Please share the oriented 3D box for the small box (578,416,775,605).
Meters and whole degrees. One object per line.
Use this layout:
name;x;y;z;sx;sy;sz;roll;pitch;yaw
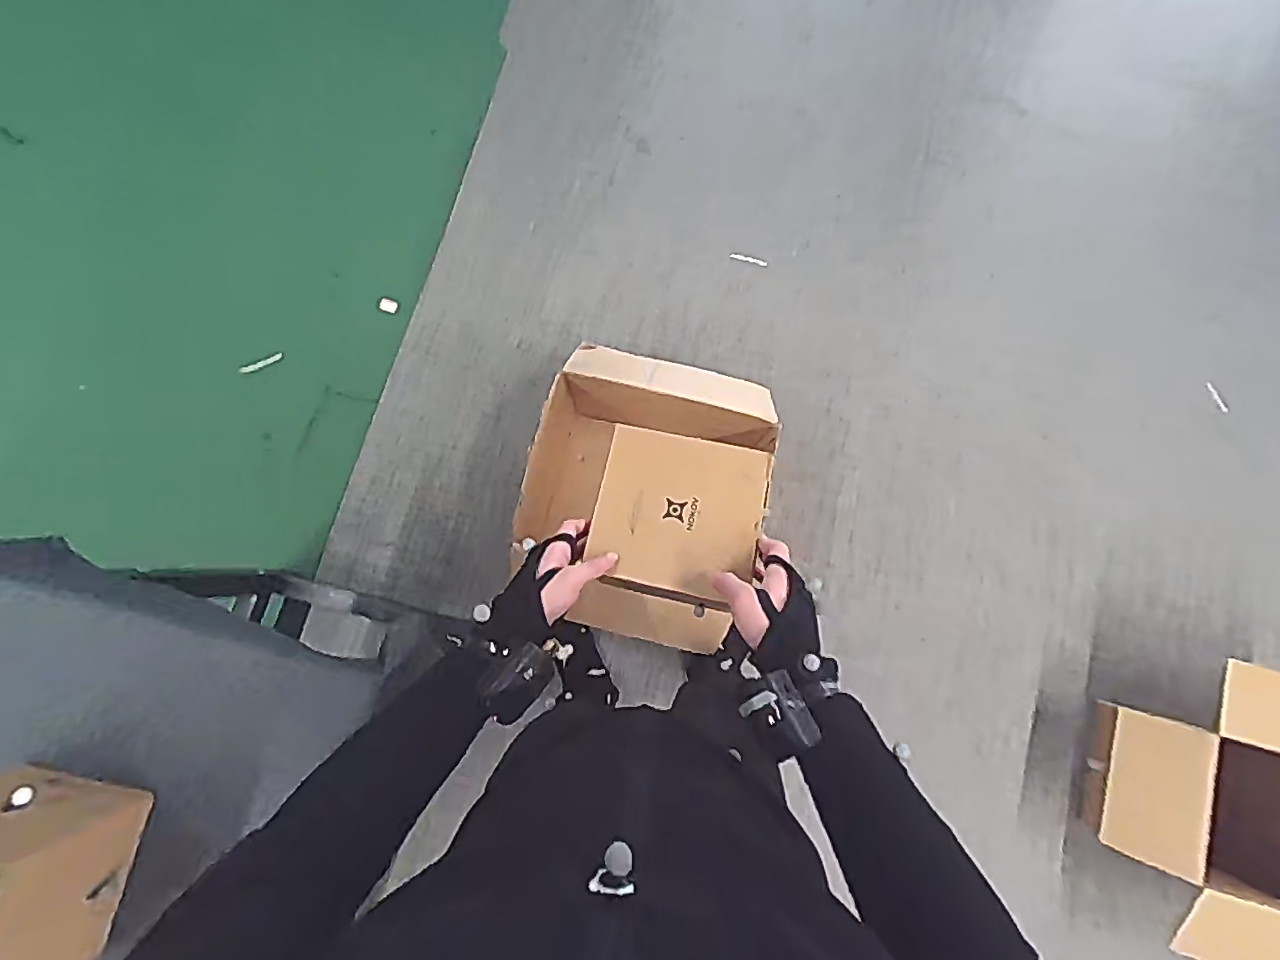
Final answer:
small box;0.044;0.045;0.624;0.179;0.176;0.168;10;74;7
